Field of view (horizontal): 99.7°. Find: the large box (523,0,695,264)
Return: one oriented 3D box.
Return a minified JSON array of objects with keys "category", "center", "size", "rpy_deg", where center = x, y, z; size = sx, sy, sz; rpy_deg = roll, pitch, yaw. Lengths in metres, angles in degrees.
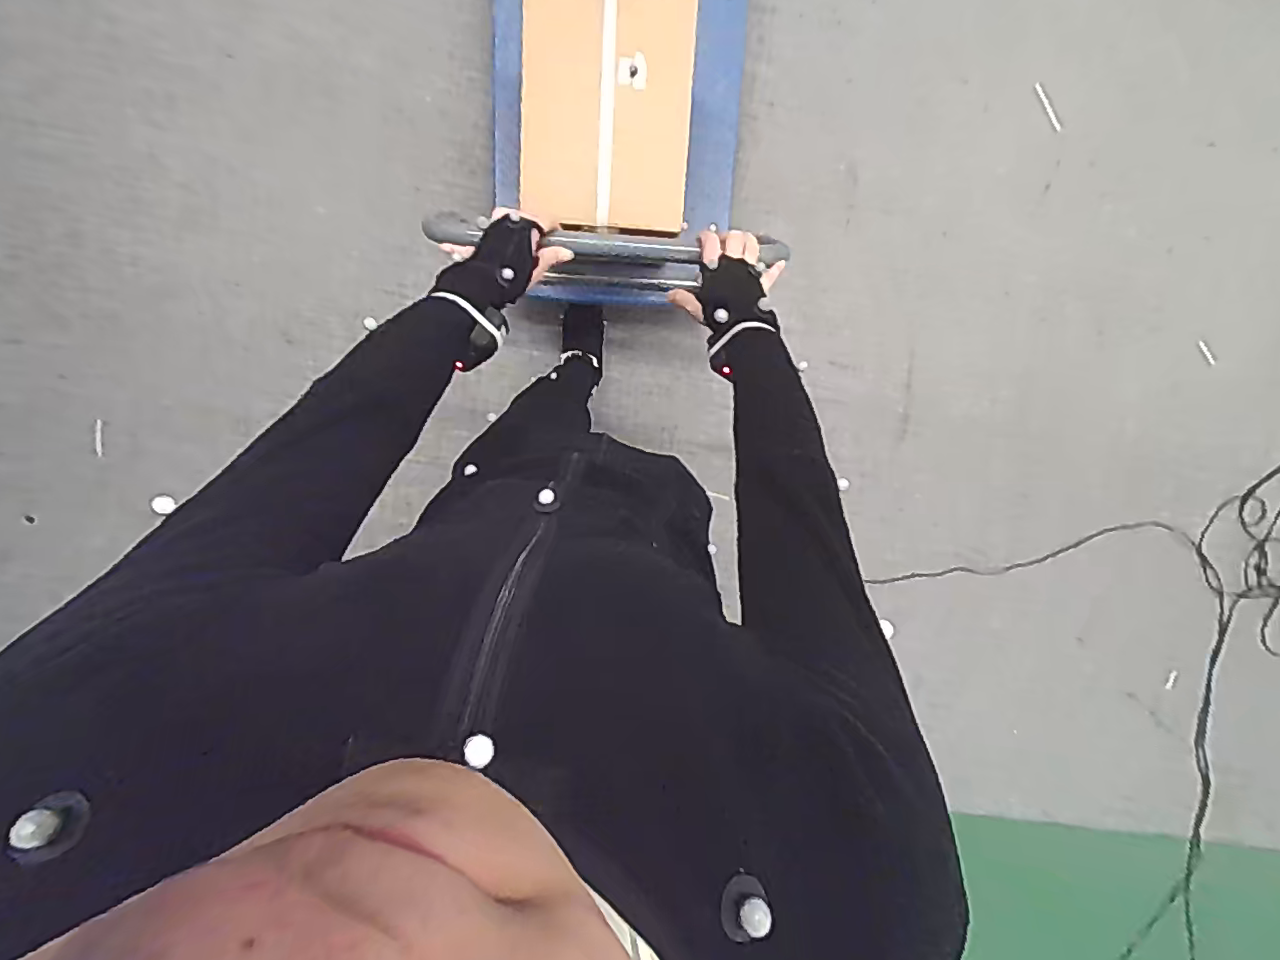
[{"category":"large box","center":[-0.065,-0.704,1.150],"size":[0.320,0.320,0.408],"rpy_deg":[3,100,-3]}]
